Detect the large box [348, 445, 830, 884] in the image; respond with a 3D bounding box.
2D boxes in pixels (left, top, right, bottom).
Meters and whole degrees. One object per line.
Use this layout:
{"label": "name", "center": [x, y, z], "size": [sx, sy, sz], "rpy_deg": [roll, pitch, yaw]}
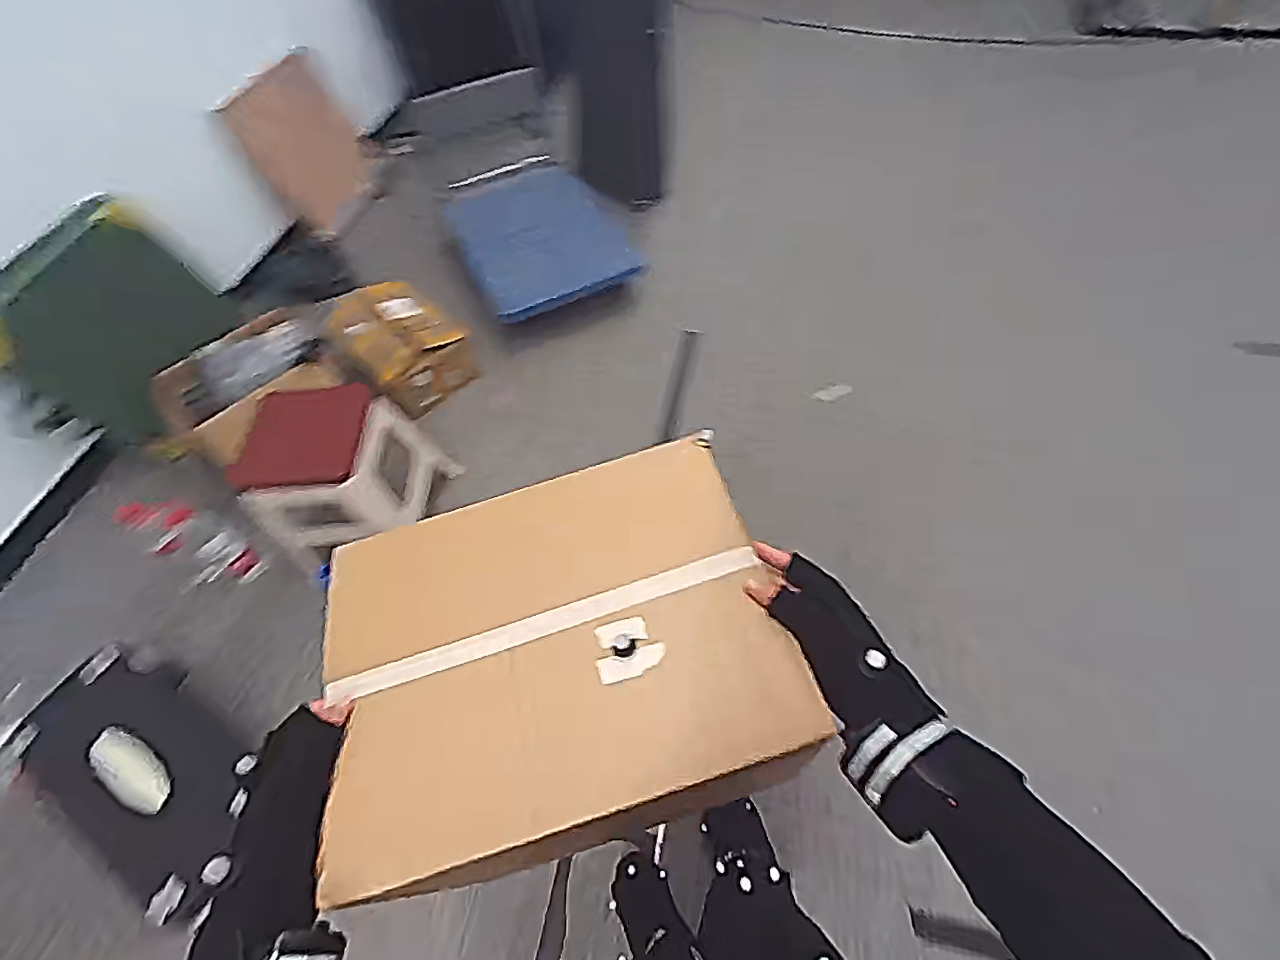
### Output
{"label": "large box", "center": [-0.053, 0.219, 0.627], "size": [0.408, 0.320, 0.320], "rpy_deg": [-17, 55, -2]}
